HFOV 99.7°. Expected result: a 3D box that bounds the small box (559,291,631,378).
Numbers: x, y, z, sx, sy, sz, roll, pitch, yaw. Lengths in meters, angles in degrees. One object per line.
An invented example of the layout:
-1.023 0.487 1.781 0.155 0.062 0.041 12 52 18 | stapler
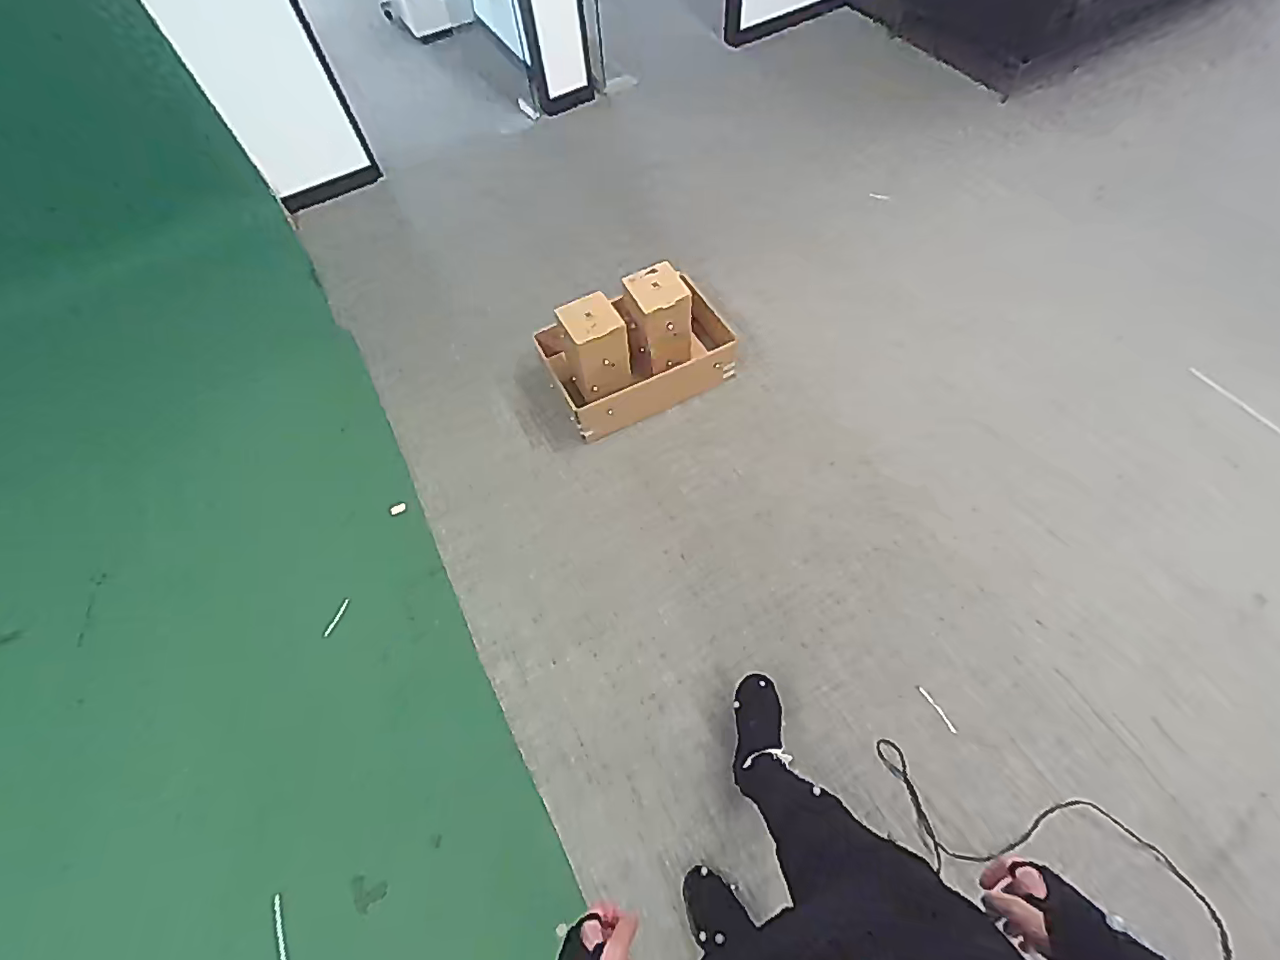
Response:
-0.140 -0.457 1.715 0.168 0.176 0.179 -26 63 -10 | small box
